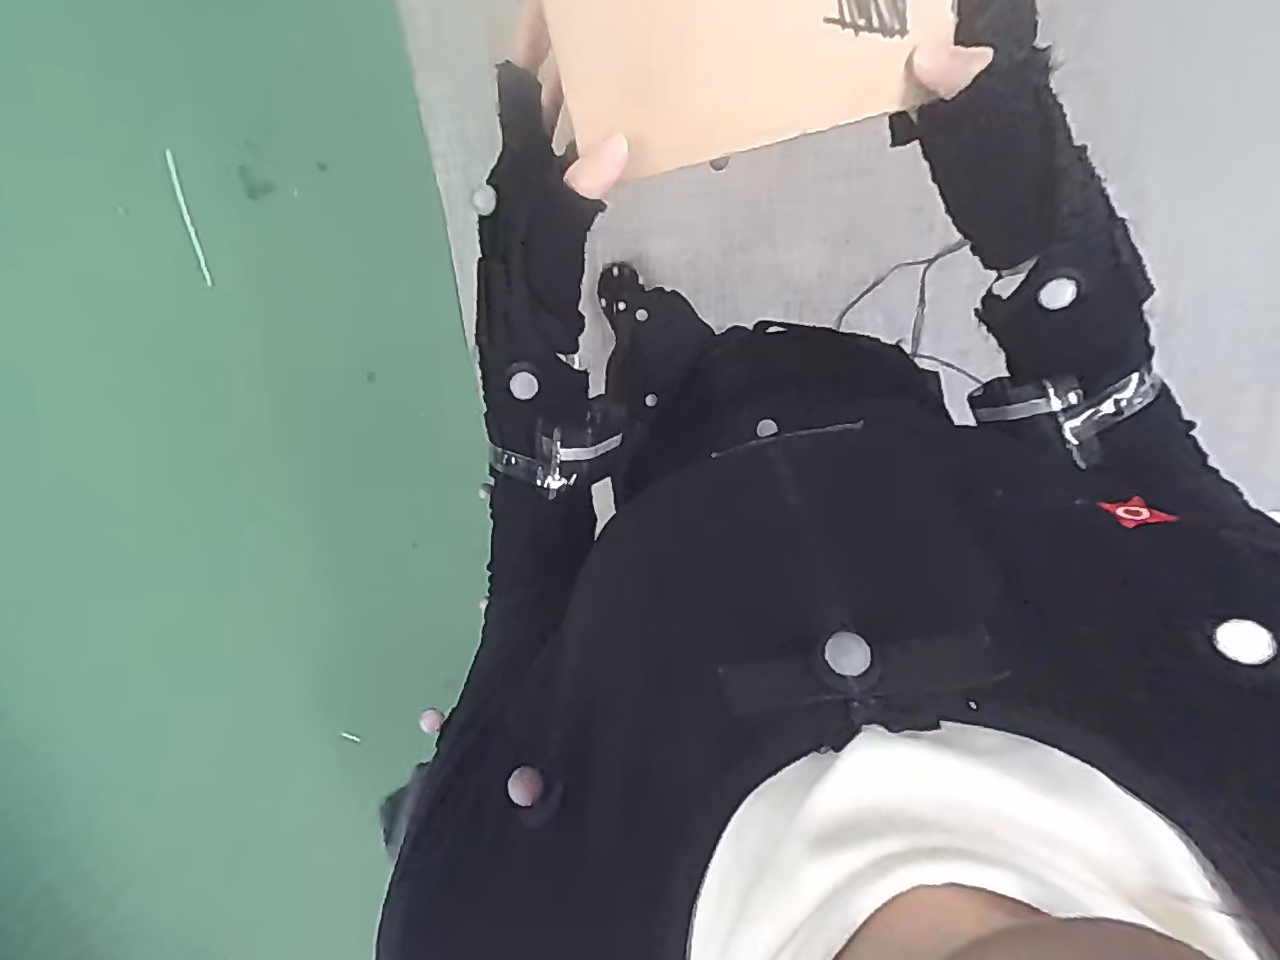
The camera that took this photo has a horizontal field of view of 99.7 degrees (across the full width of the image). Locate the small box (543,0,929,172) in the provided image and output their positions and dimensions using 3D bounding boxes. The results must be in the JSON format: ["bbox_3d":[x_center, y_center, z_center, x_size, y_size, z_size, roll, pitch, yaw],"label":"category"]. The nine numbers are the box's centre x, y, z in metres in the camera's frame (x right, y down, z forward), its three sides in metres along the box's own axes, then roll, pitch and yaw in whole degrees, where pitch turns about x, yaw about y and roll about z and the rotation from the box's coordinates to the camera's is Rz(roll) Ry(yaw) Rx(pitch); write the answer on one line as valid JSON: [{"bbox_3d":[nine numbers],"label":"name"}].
[{"bbox_3d":[0.033,-0.283,0.290,0.179,0.176,0.168,-12,125,2],"label":"small box"}]
